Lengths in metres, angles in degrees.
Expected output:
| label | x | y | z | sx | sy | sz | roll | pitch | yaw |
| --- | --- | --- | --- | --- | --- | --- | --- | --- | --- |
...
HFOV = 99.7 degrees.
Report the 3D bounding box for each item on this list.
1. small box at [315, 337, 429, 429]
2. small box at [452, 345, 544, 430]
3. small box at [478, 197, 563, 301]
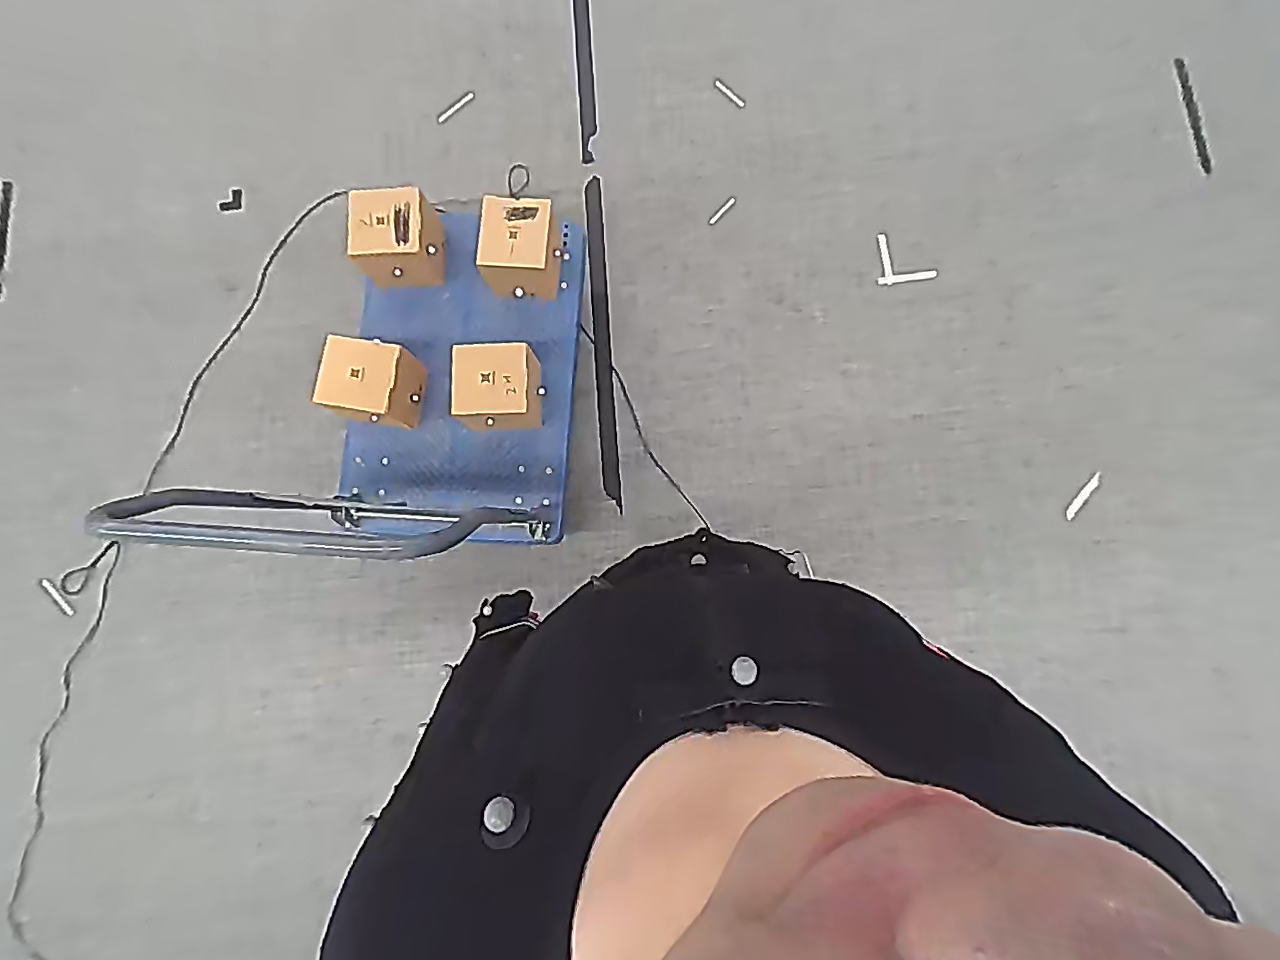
| label | x | y | z | sx | sy | sz | roll | pitch | yaw |
| --- | --- | --- | --- | --- | --- | --- | --- | --- | --- |
| small box | -0.645 | -0.229 | 1.319 | 0.179 | 0.176 | 0.168 | 9 | 83 | 1 |
| small box | -0.337 | -0.218 | 1.309 | 0.179 | 0.176 | 0.168 | -2 | 83 | 1 |
| small box | -0.292 | -0.571 | 1.351 | 0.168 | 0.176 | 0.179 | 4 | 84 | 2 |
